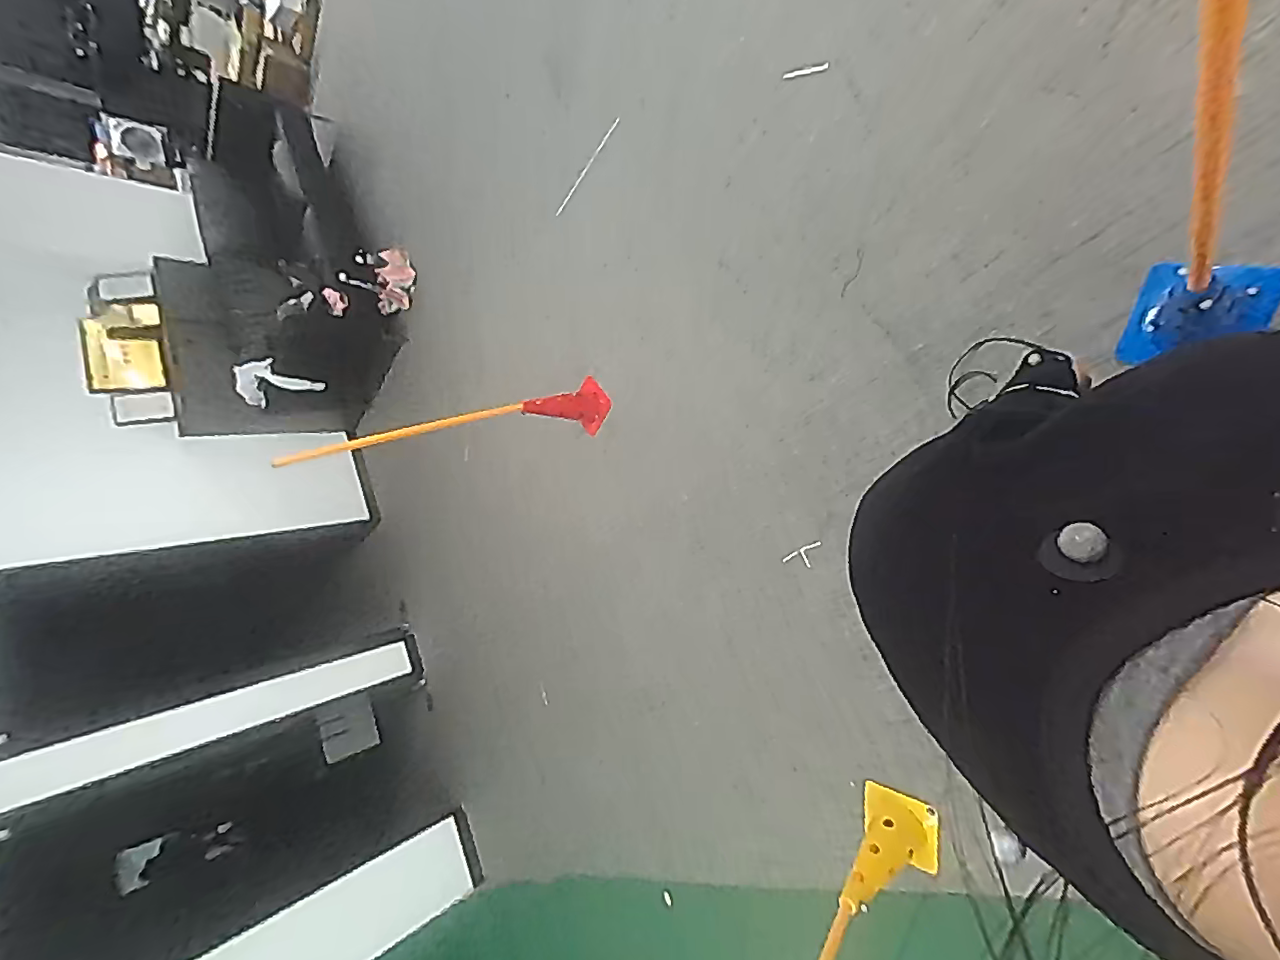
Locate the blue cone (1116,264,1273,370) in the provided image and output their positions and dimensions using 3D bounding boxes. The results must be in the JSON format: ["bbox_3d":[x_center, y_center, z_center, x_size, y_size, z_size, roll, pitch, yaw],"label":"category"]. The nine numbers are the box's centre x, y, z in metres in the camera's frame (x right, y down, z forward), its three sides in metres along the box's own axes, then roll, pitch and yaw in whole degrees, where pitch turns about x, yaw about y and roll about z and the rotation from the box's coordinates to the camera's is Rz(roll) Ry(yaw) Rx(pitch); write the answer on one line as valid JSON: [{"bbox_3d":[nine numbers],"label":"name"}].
[{"bbox_3d":[0.949,-0.309,0.932,0.192,0.380,0.193,23,108,41],"label":"blue cone"}]
